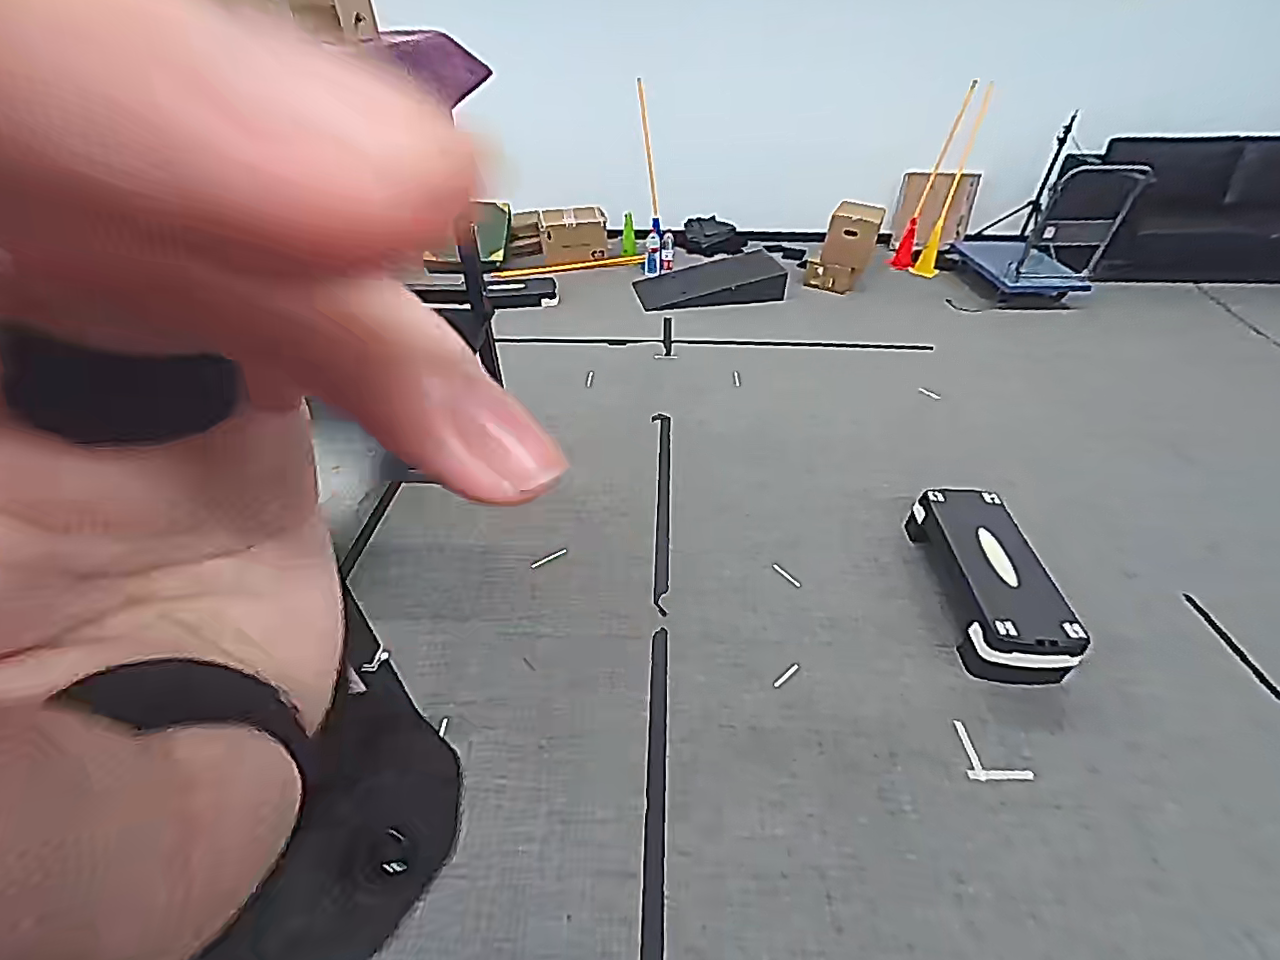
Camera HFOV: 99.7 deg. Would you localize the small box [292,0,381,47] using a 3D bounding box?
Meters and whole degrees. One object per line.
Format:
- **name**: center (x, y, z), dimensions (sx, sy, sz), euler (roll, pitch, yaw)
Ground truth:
- **small box**: center (-0.703, -1.072, 1.197), dimensions (0.168, 0.176, 0.179), euler (3, 41, 4)
